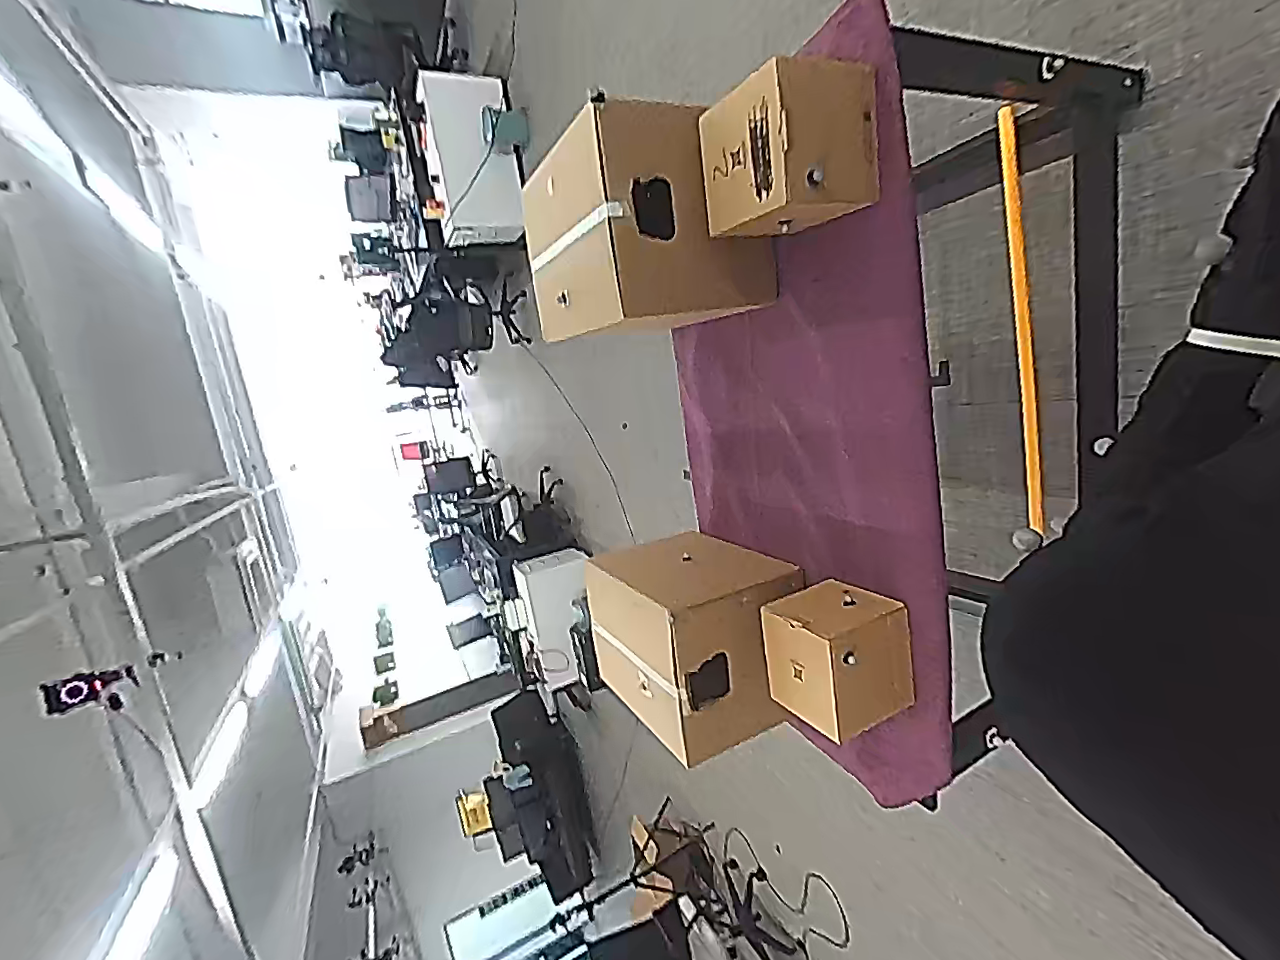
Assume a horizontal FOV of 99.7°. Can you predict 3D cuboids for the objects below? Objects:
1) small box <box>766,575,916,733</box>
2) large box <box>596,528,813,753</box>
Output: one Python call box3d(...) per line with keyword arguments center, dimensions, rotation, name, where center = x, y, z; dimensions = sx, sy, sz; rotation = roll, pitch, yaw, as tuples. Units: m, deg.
box3d(center=(0.341, 0.281, 0.915), dimensions=(0.168, 0.176, 0.179), rotation=(10, 112, 65), name="small box")
box3d(center=(0.136, 0.312, 1.205), dimensions=(0.408, 0.320, 0.320), rotation=(10, 111, 61), name="large box")
